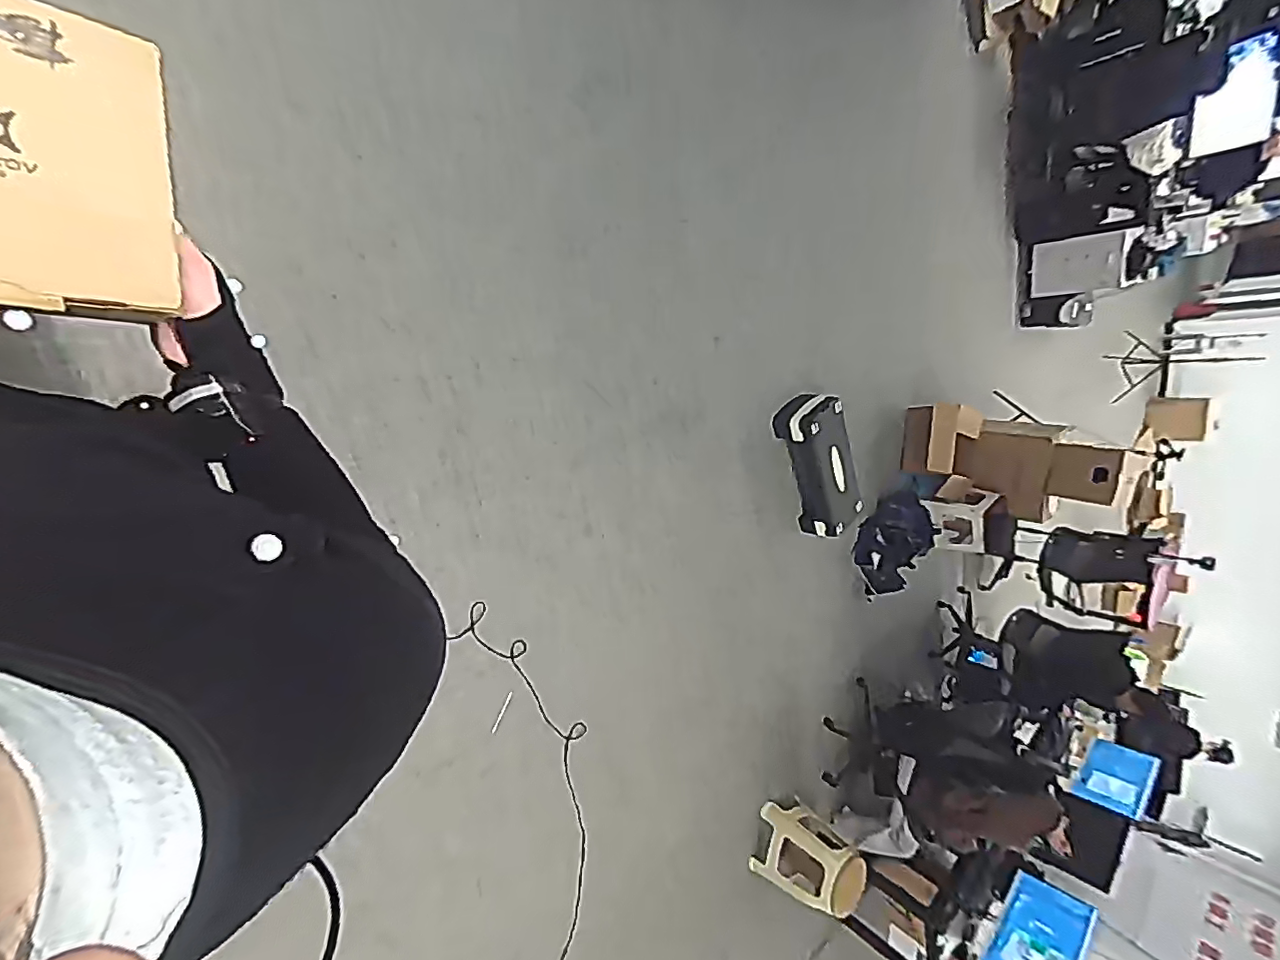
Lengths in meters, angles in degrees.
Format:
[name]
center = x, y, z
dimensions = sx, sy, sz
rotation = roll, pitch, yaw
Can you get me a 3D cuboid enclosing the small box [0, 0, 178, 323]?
[small box]
center = -0.433, -0.204, 0.360
dimensions = 0.168, 0.176, 0.179
rotation = -7, 104, -49
